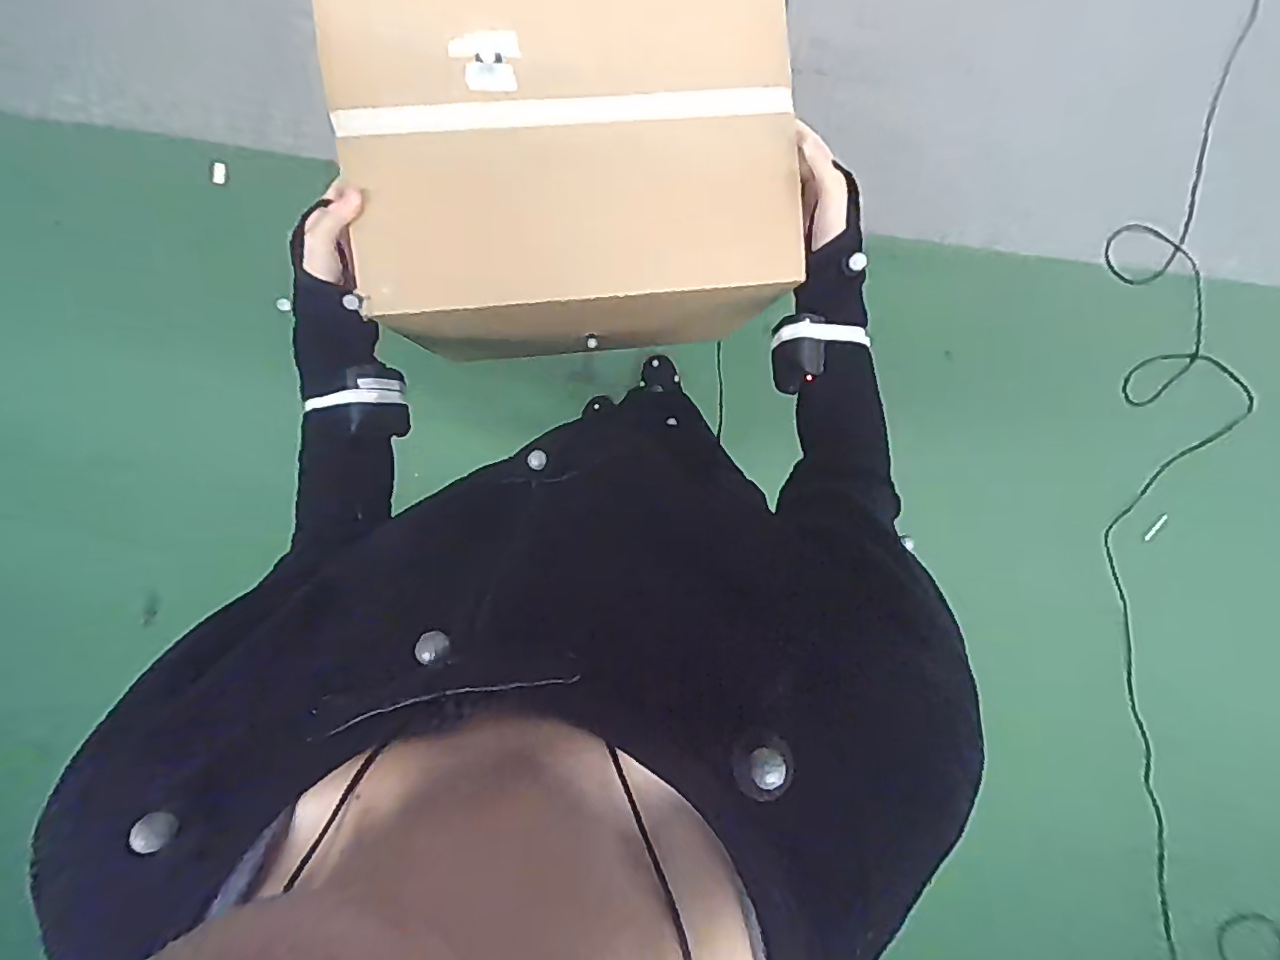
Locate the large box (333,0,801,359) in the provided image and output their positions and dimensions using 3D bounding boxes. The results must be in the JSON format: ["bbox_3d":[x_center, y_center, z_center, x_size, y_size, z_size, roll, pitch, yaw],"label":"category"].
[{"bbox_3d":[-0.067,-0.330,0.639,0.408,0.320,0.320,-6,95,-5],"label":"large box"}]
